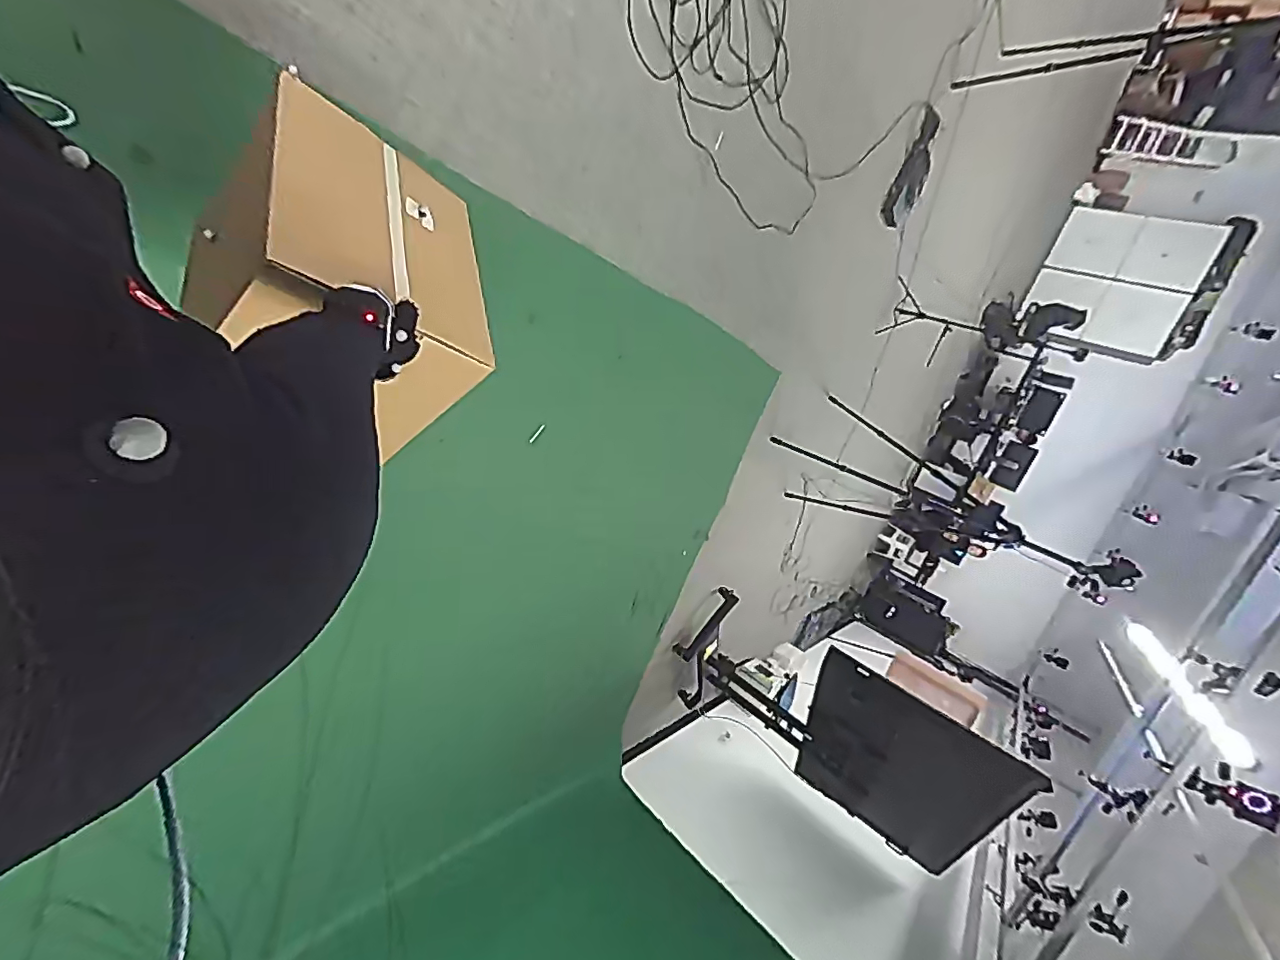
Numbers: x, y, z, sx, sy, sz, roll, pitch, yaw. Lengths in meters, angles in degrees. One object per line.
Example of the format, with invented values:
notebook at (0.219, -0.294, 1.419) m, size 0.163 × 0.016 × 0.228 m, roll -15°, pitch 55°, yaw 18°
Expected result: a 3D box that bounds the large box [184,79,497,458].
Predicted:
large box at (-0.476, -0.302, 0.868) m, size 0.320 × 0.408 × 0.320 m, roll -32°, pitch 150°, yaw 26°
